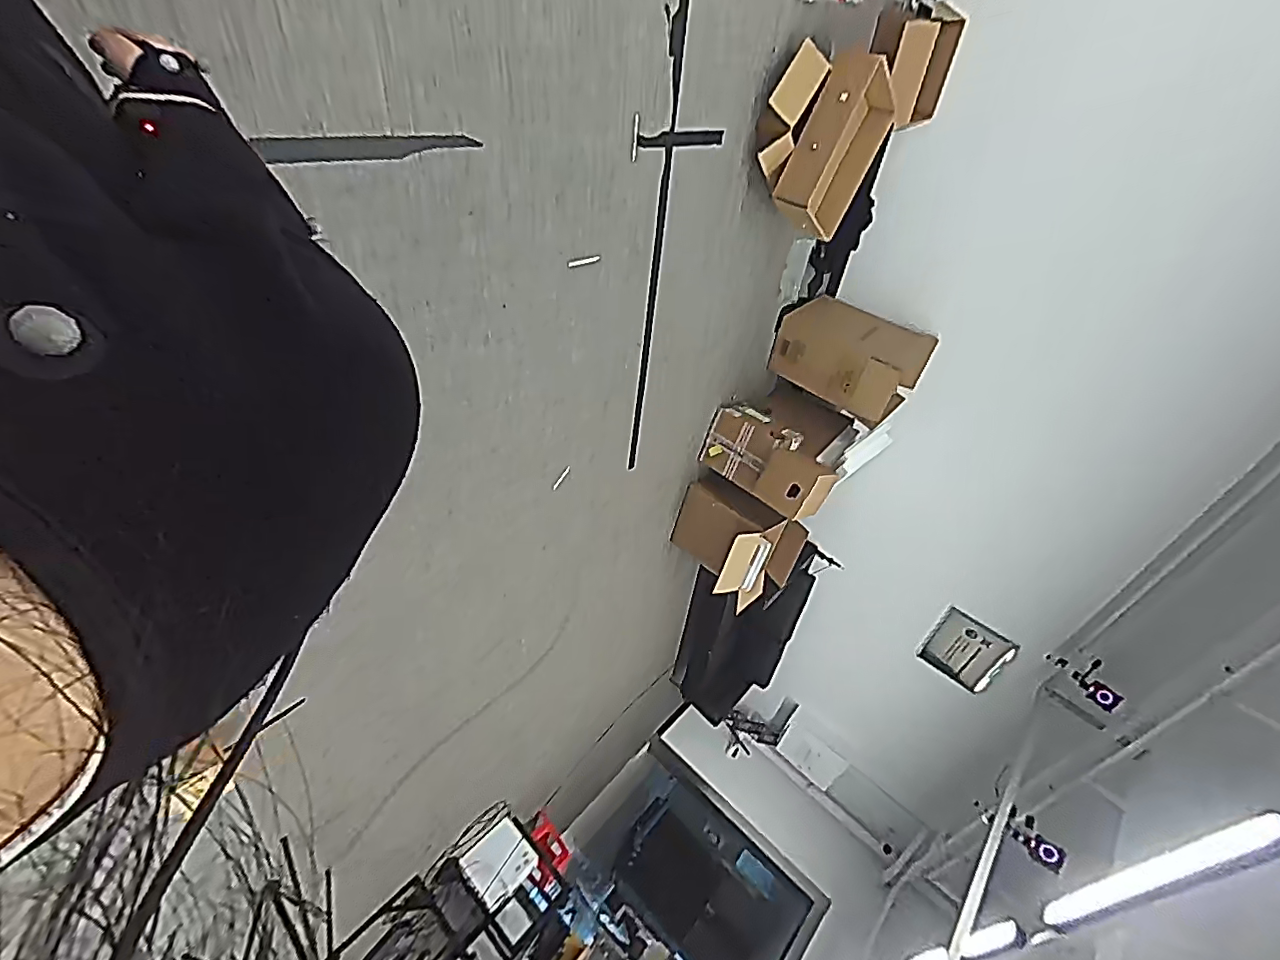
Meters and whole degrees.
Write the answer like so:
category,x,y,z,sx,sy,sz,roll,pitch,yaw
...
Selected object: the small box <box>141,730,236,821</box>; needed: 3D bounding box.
category,x,y,z,sx,sy,sz,roll,pitch,yaw
small box,-1.464,0.954,1.757,0.168,0.176,0.179,-33,145,-37
